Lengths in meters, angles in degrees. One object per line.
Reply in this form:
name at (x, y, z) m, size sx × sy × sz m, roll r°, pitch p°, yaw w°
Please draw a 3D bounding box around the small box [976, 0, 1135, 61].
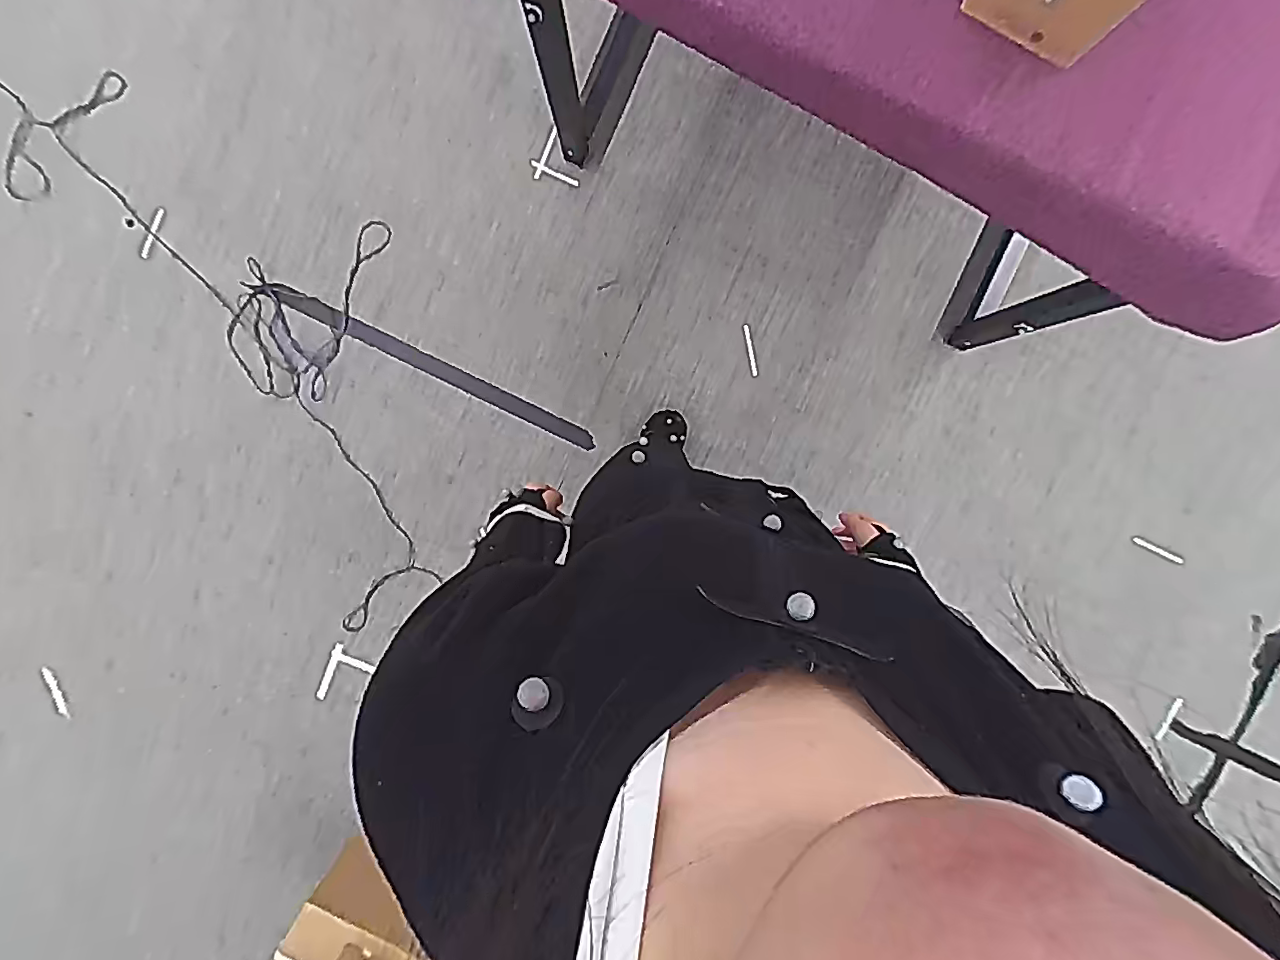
small box at (0.533, -0.654, 0.632) m, size 0.168 × 0.176 × 0.179 m, roll 28°, pitch 94°, yaw -3°
